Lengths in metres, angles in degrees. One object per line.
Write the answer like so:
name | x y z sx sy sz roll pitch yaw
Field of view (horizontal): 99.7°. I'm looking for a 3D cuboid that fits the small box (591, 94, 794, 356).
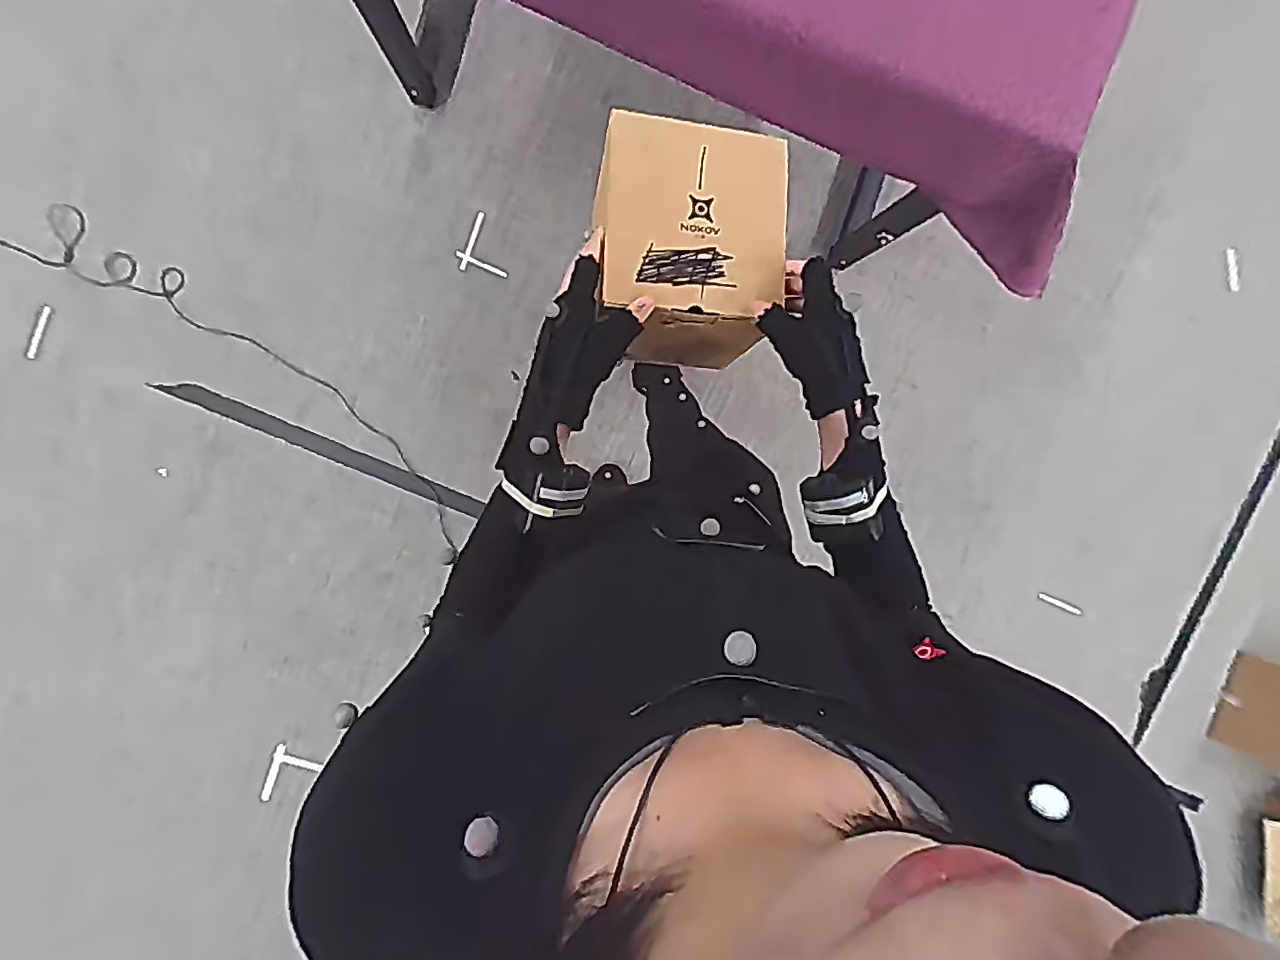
small box | 0.041 -0.236 0.550 0.168 0.176 0.179 3 86 -11
